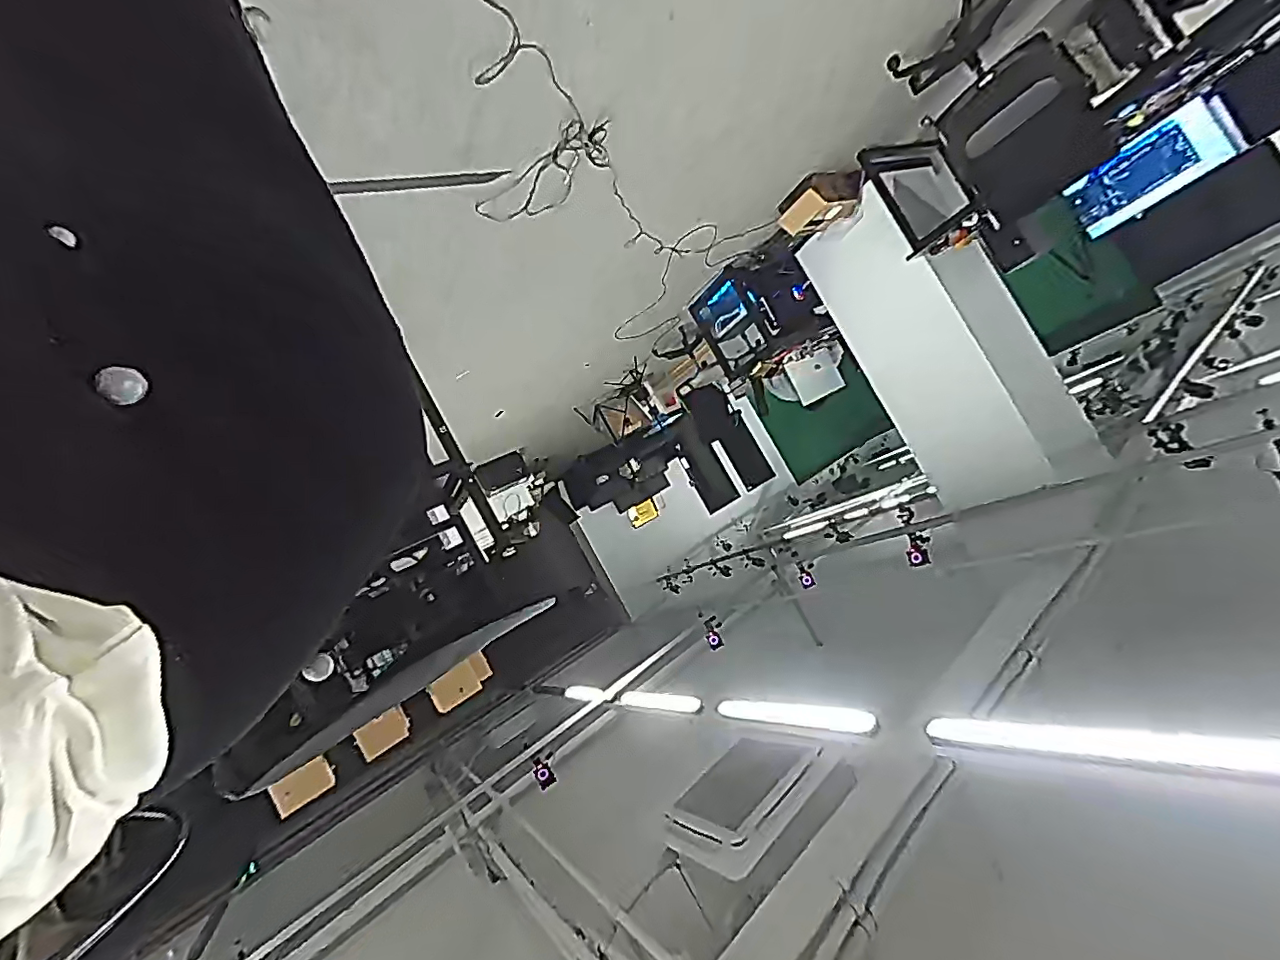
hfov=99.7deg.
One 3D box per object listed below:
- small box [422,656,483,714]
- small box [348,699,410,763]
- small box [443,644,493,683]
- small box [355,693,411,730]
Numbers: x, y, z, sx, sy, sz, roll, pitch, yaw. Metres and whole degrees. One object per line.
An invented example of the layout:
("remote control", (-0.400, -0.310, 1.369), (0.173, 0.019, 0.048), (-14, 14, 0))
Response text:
("small box", (-0.807, 0.874, 2.321), (0.179, 0.176, 0.168), (-27, 176, -34))
("small box", (-1.054, 1.003, 2.177), (0.168, 0.176, 0.179), (-28, 178, -34))
("small box", (-0.831, 0.905, 2.599), (0.168, 0.176, 0.179), (-27, 176, -29))
("small box", (-1.142, 1.067, 2.392), (0.179, 0.176, 0.168), (-26, 177, -32))
